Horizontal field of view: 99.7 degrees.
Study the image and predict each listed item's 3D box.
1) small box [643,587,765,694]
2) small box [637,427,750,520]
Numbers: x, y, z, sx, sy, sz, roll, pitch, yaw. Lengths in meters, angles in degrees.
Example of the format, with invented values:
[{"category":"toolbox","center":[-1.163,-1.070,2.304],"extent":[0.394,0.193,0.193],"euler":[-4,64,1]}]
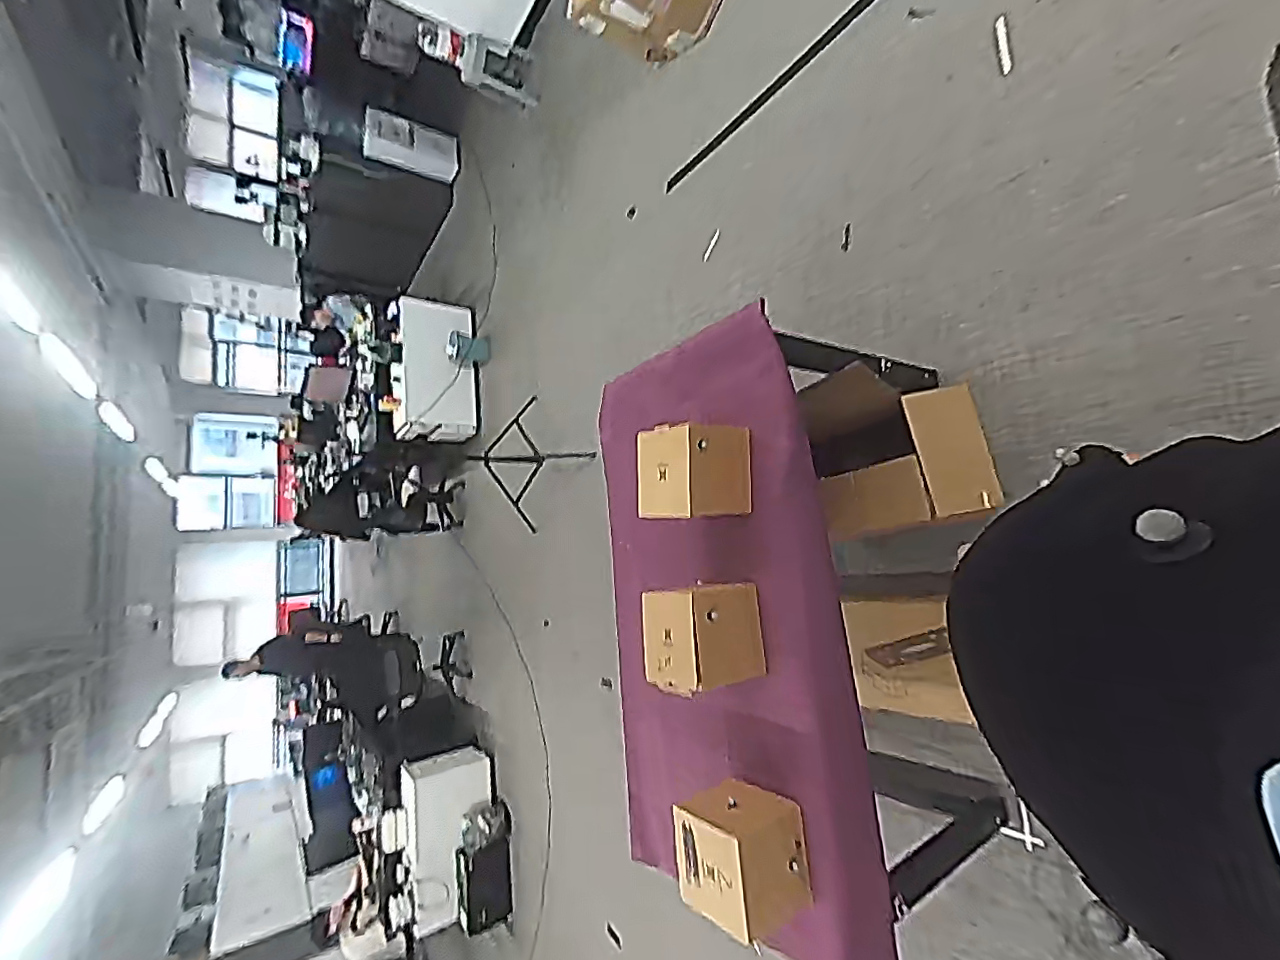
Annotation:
[{"category":"small box","center":[0.126,0.308,1.077],"extent":[0.168,0.176,0.179],"euler":[-19,75,56]},{"category":"small box","center":[0.110,-0.009,1.106],"extent":[0.168,0.176,0.179],"euler":[-5,85,54]}]
